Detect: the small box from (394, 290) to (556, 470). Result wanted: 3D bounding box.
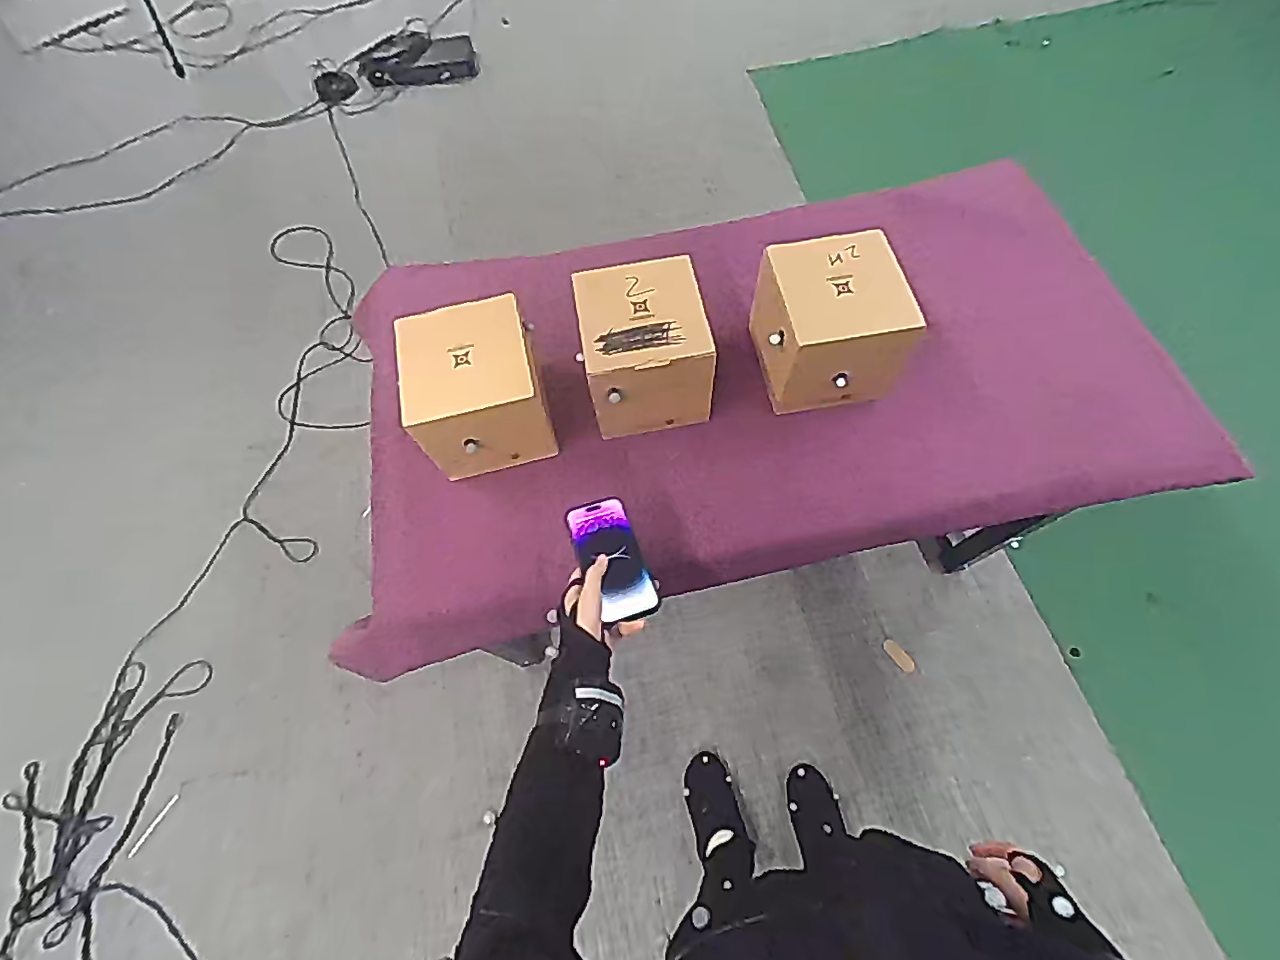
[{"bbox_3d":[-0.225,-0.129,0.763,0.168,0.176,0.179,-15,65,-3],"label":"small box"}]

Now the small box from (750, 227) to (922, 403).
[{"bbox_3d":[0.265,-0.226,0.778,0.168,0.176,0.179,-8,65,-1],"label":"small box"}]
